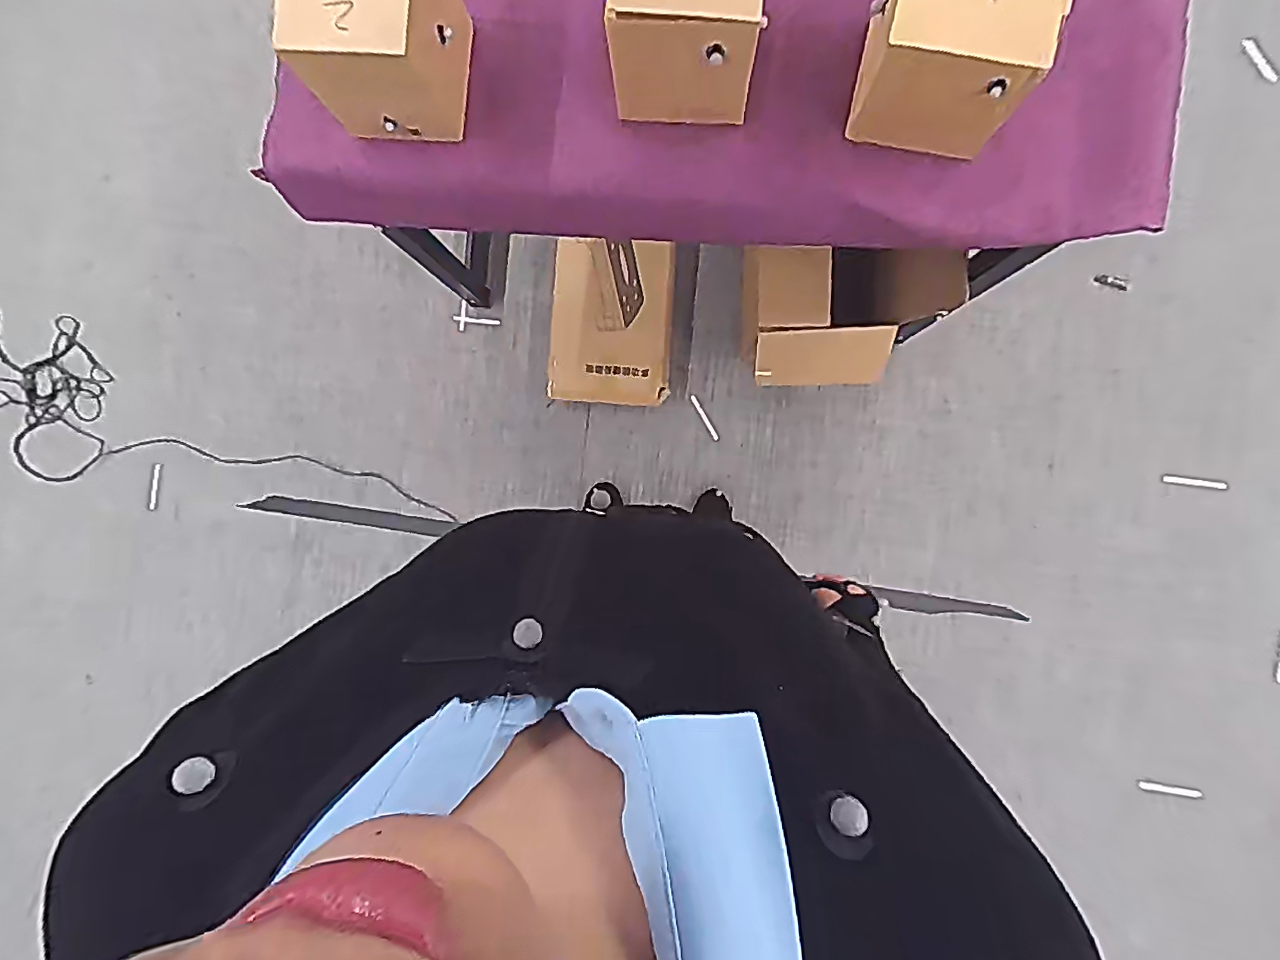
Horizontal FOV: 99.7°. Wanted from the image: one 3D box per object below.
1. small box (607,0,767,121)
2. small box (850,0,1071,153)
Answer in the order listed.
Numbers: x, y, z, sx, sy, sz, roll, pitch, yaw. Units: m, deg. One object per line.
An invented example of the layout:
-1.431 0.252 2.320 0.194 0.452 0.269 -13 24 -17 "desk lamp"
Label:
0.061 -0.581 0.671 0.179 0.176 0.168 5 88 4 "small box"
0.375 -0.530 0.651 0.179 0.176 0.168 12 91 4 "small box"
